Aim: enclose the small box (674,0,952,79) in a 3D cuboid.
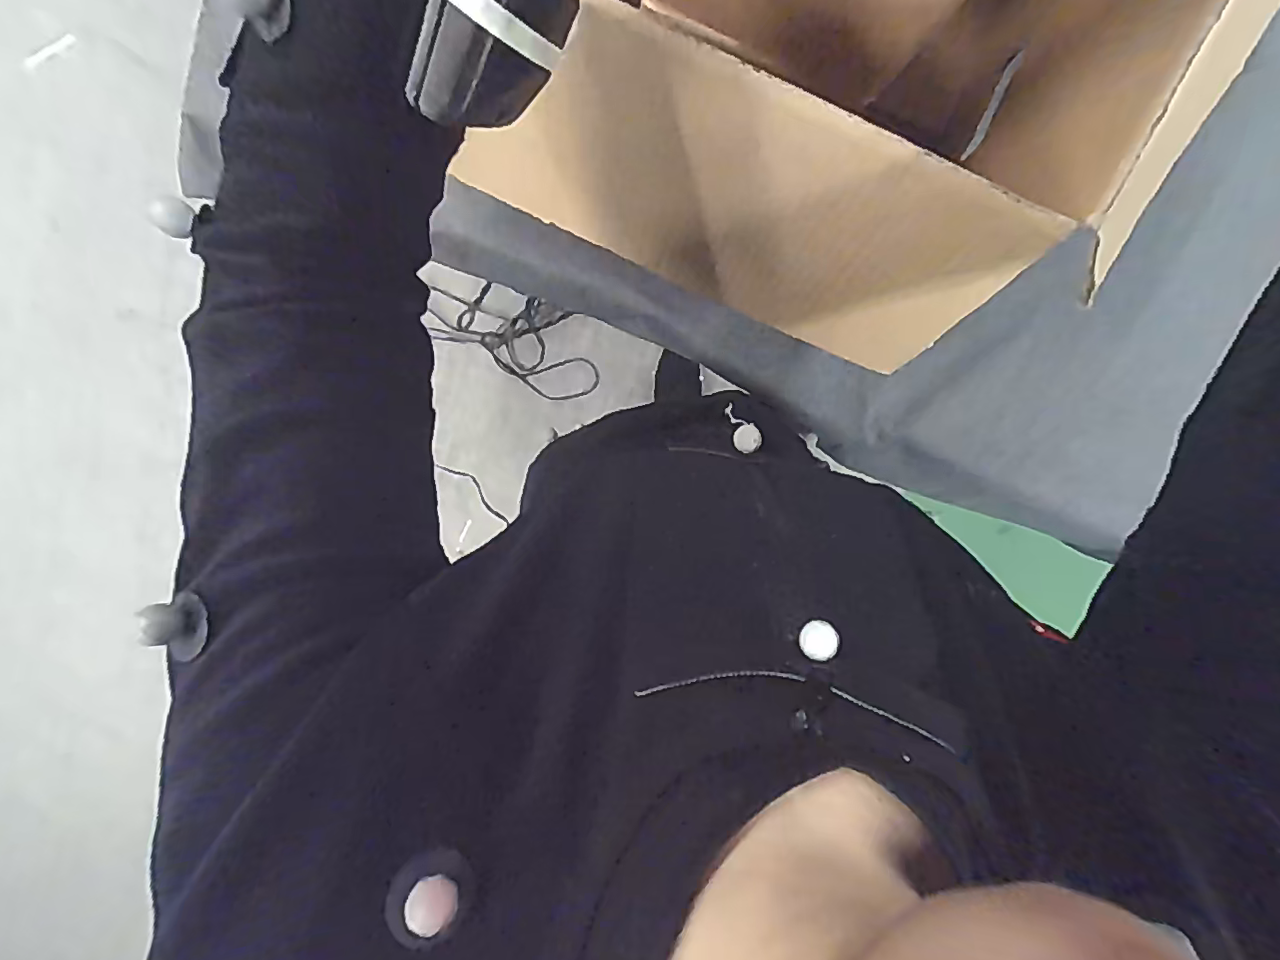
[{"bbox_3d":[0.113,-0.351,0.275,0.179,0.176,0.168,22,103,-4],"label":"small box"}]
